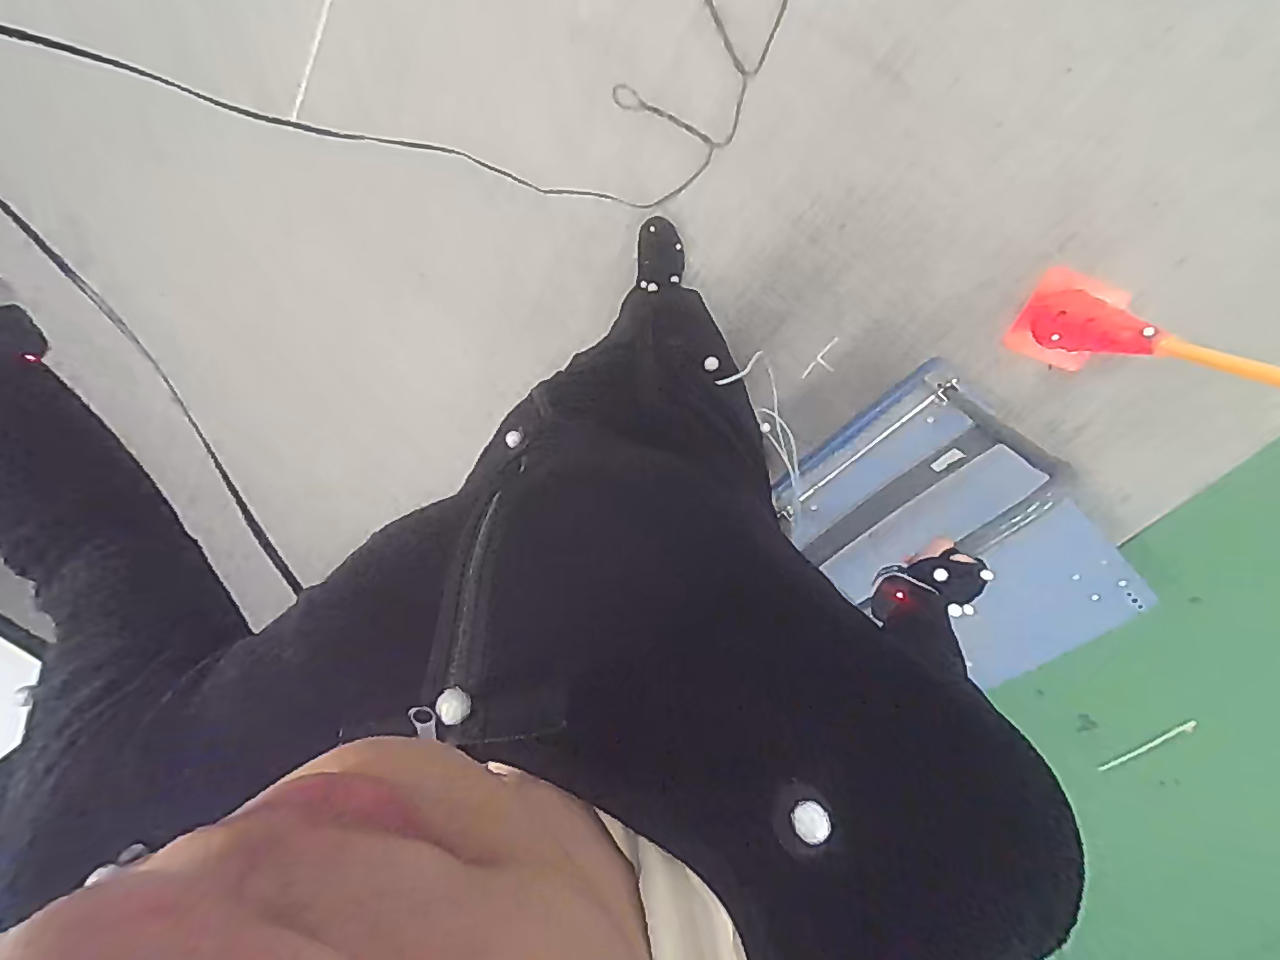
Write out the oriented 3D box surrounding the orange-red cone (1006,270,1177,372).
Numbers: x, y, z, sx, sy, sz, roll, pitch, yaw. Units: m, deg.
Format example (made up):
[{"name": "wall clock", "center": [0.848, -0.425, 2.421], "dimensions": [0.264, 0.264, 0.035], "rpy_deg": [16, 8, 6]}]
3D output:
[{"name": "orange-red cone", "center": [0.995, -0.315, 1.151], "dimensions": [0.198, 0.360, 0.199], "rpy_deg": [24, 115, 0]}]
